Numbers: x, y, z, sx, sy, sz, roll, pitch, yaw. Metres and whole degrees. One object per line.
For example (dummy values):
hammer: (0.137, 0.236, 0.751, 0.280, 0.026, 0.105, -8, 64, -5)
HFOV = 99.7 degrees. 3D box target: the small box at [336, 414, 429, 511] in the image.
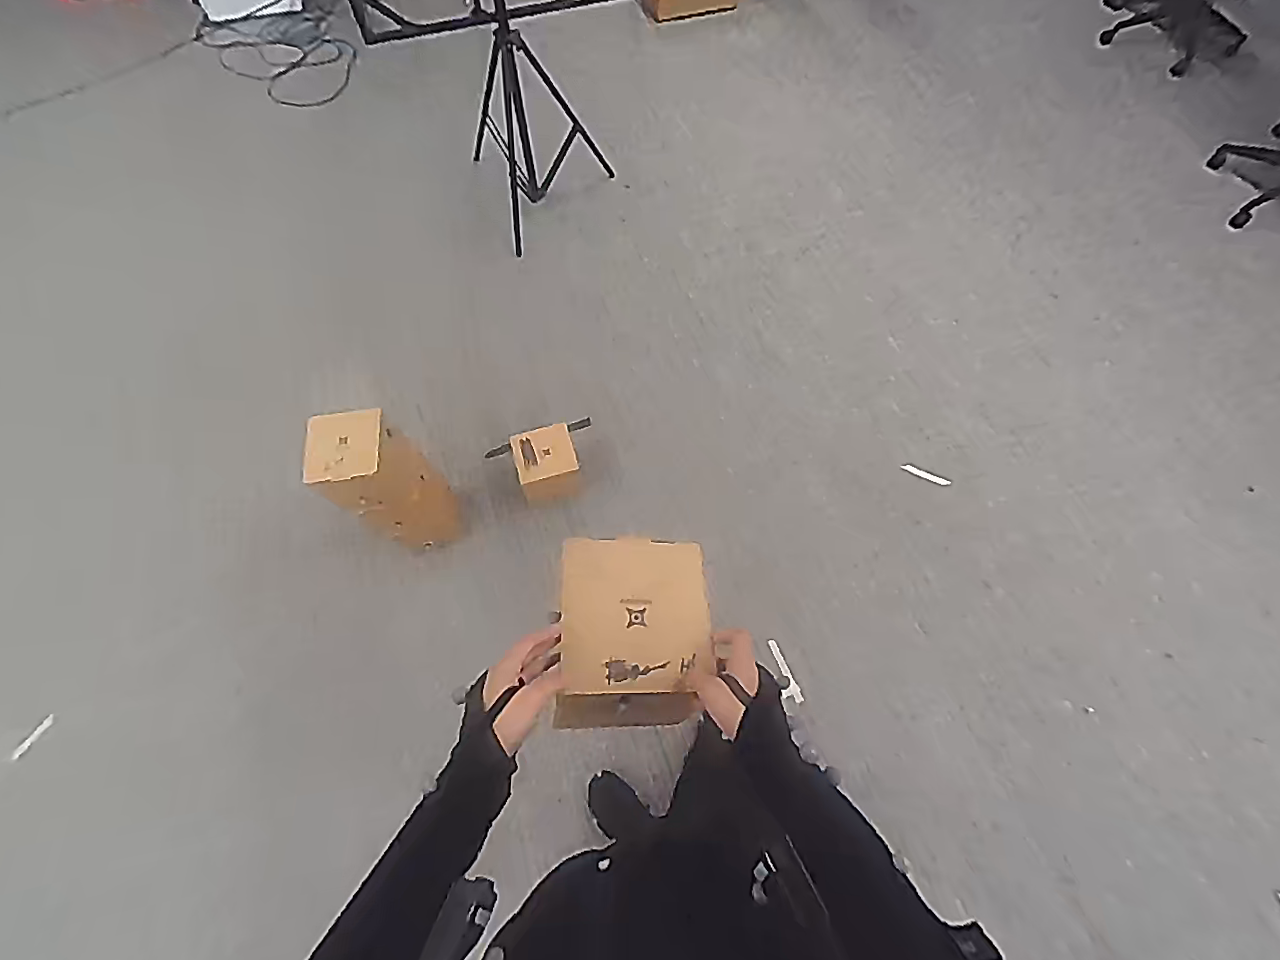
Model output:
small box: (-0.661, -0.042, 1.395, 0.168, 0.176, 0.179, -13, 67, -5)

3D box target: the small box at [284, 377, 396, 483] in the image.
small box: (-0.680, -0.112, 1.246, 0.168, 0.176, 0.179, -8, 67, -3)

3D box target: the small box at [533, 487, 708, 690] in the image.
small box: (-0.033, 0.129, 0.619, 0.168, 0.176, 0.179, 3, 56, -10)

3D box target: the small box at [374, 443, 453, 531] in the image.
small box: (-0.650, 0.023, 1.542, 0.168, 0.176, 0.179, -16, 67, -6)
